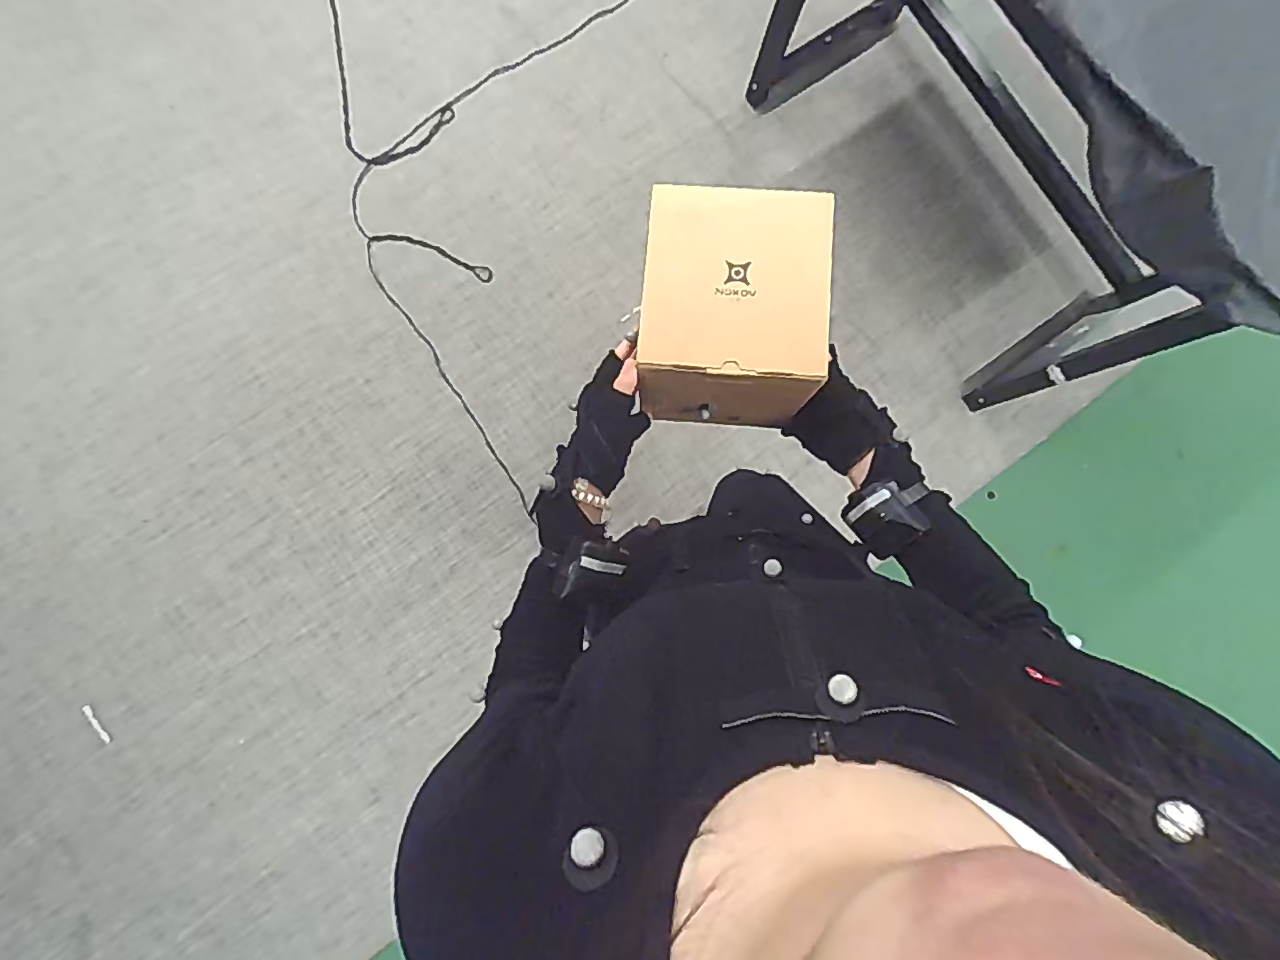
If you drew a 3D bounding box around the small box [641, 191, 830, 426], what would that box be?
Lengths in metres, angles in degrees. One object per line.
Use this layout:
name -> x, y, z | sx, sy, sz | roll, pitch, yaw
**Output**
small box -> 0.090, -0.167, 0.569 | 0.168, 0.176, 0.179 | 4, 82, 3
